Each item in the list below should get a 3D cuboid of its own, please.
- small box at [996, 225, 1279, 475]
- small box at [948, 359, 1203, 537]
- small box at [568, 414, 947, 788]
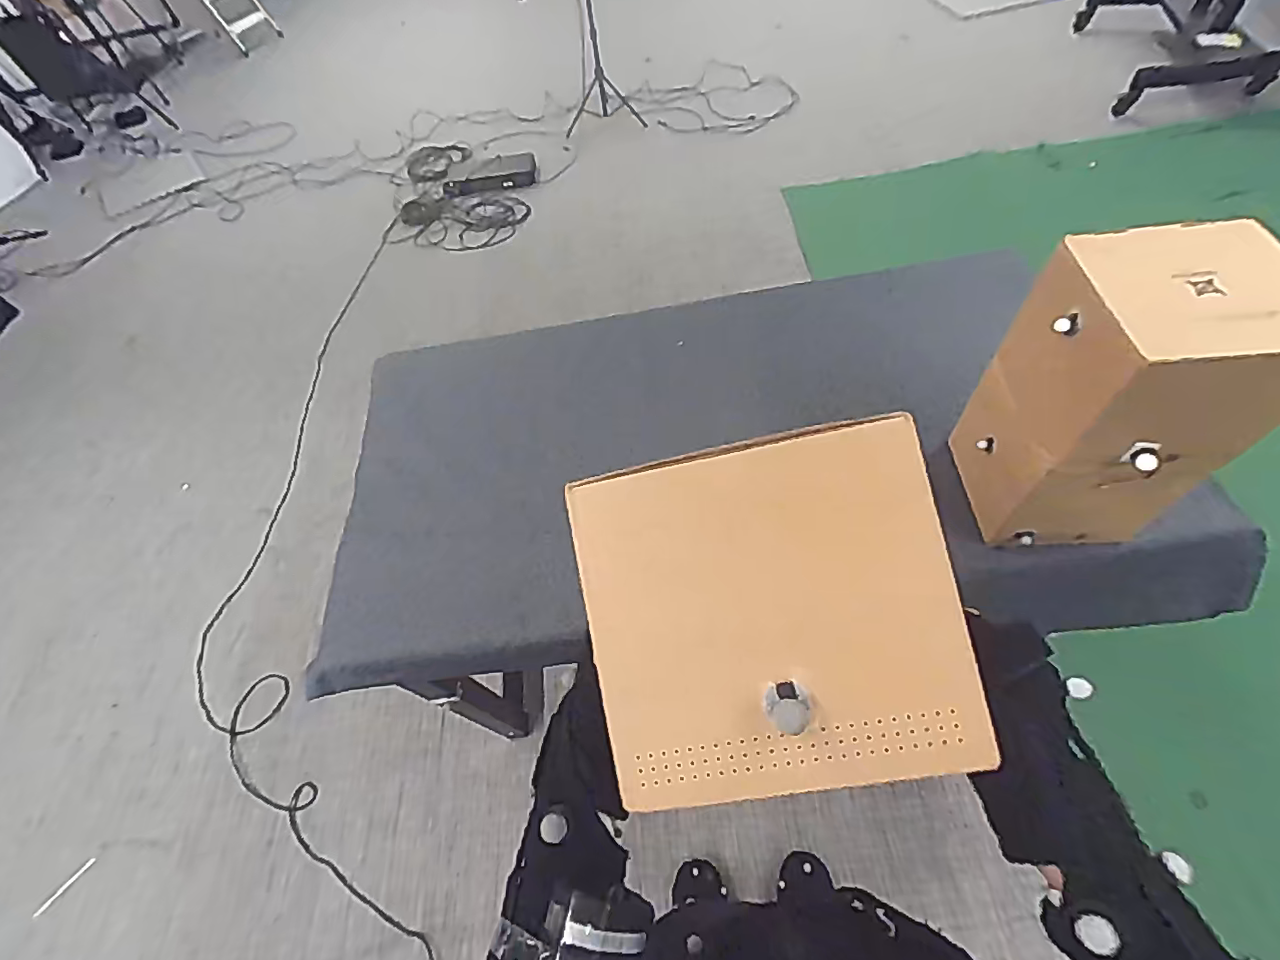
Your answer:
[{"bbox_3d":[0.497,-0.123,0.544,0.168,0.176,0.179,-3,57,8],"label":"small box"},{"bbox_3d":[0.520,-0.037,0.679,0.168,0.176,0.179,-3,55,7],"label":"small box"},{"bbox_3d":[0.072,0.069,0.349,0.179,0.168,0.176,-12,84,7],"label":"small box"}]
